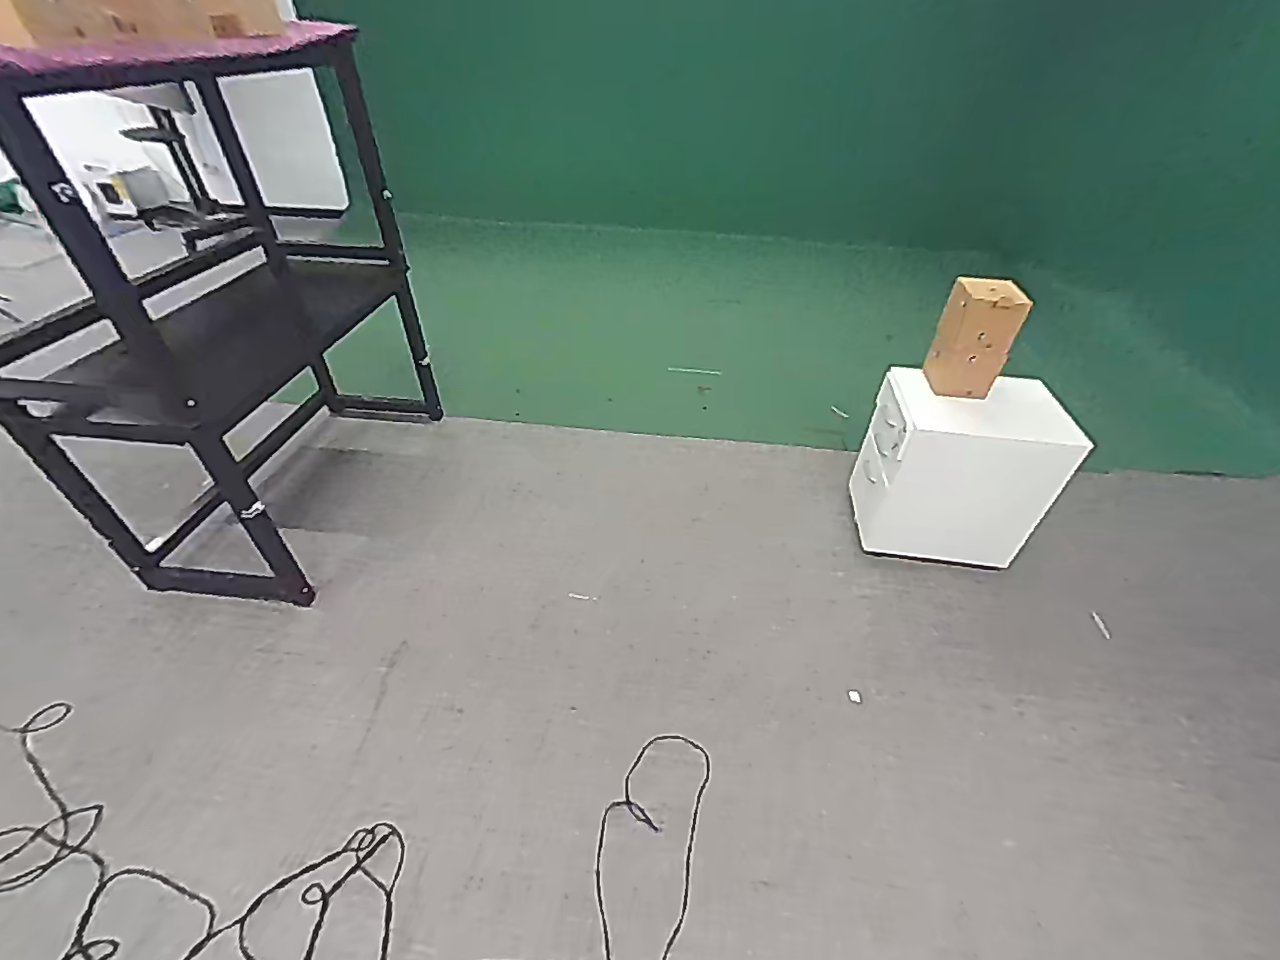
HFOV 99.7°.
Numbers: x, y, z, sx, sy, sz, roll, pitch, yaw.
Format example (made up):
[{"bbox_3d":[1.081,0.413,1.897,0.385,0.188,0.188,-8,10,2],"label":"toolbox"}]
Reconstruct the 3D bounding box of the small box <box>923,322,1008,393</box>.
[{"bbox_3d":[1.068,-0.410,1.793,0.168,0.176,0.179,6,42,5],"label":"small box"}]

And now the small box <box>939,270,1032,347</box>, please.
[{"bbox_3d":[1.066,-0.535,1.688,0.168,0.176,0.179,6,43,5],"label":"small box"}]

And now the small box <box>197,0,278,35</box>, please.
[{"bbox_3d":[-1.127,-1.316,1.458,0.168,0.176,0.179,4,41,7],"label":"small box"}]

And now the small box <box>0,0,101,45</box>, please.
[{"bbox_3d":[-1.139,-0.879,0.956,0.179,0.176,0.168,3,40,2],"label":"small box"}]
